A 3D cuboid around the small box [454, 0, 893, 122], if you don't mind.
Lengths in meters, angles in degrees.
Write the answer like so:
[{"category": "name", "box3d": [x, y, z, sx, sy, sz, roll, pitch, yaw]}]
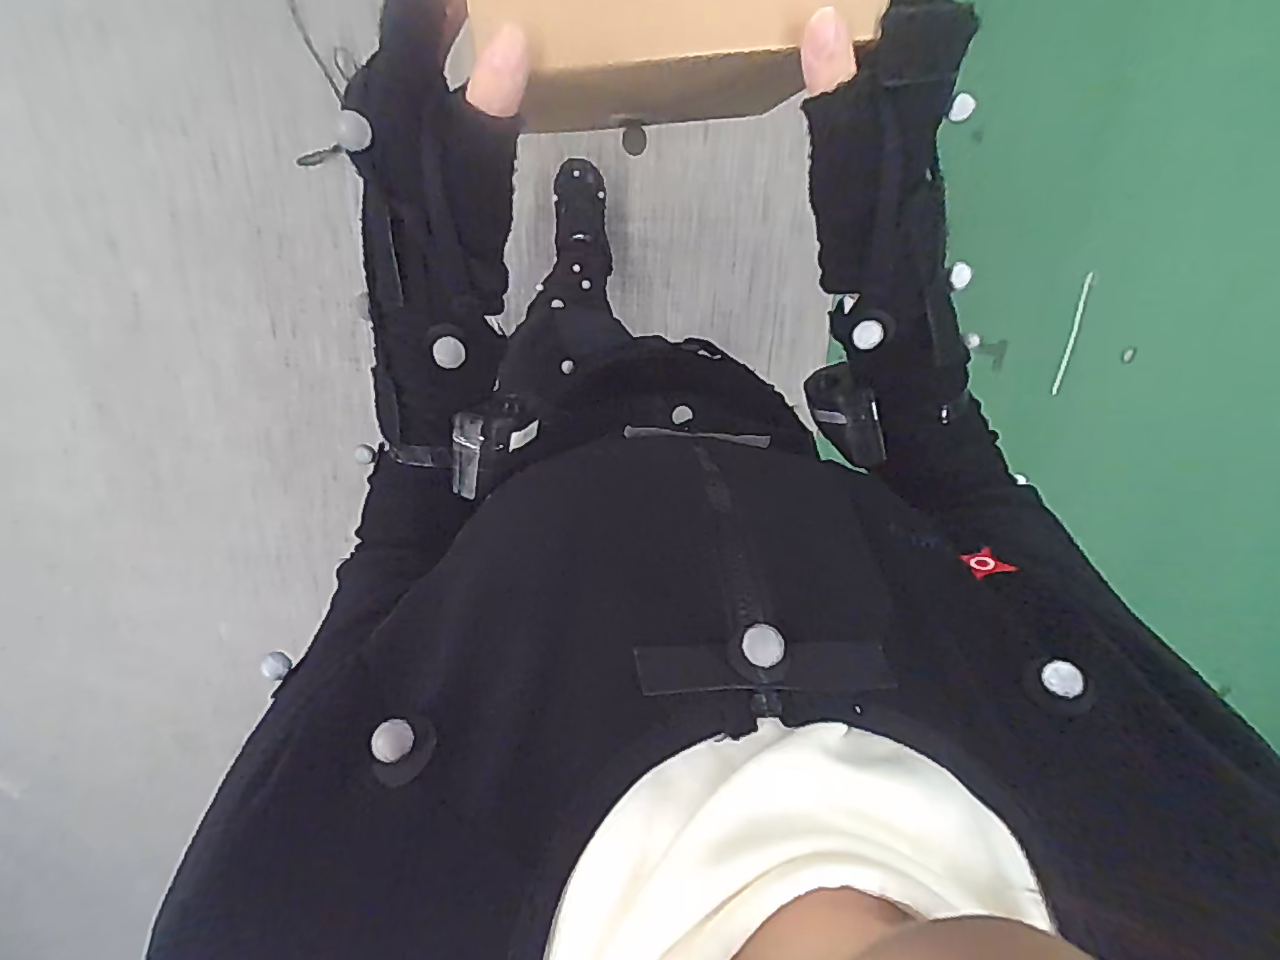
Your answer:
[{"category": "small box", "box3d": [0.000, -0.280, 0.236, 0.168, 0.176, 0.179, -7, 116, -2]}]
